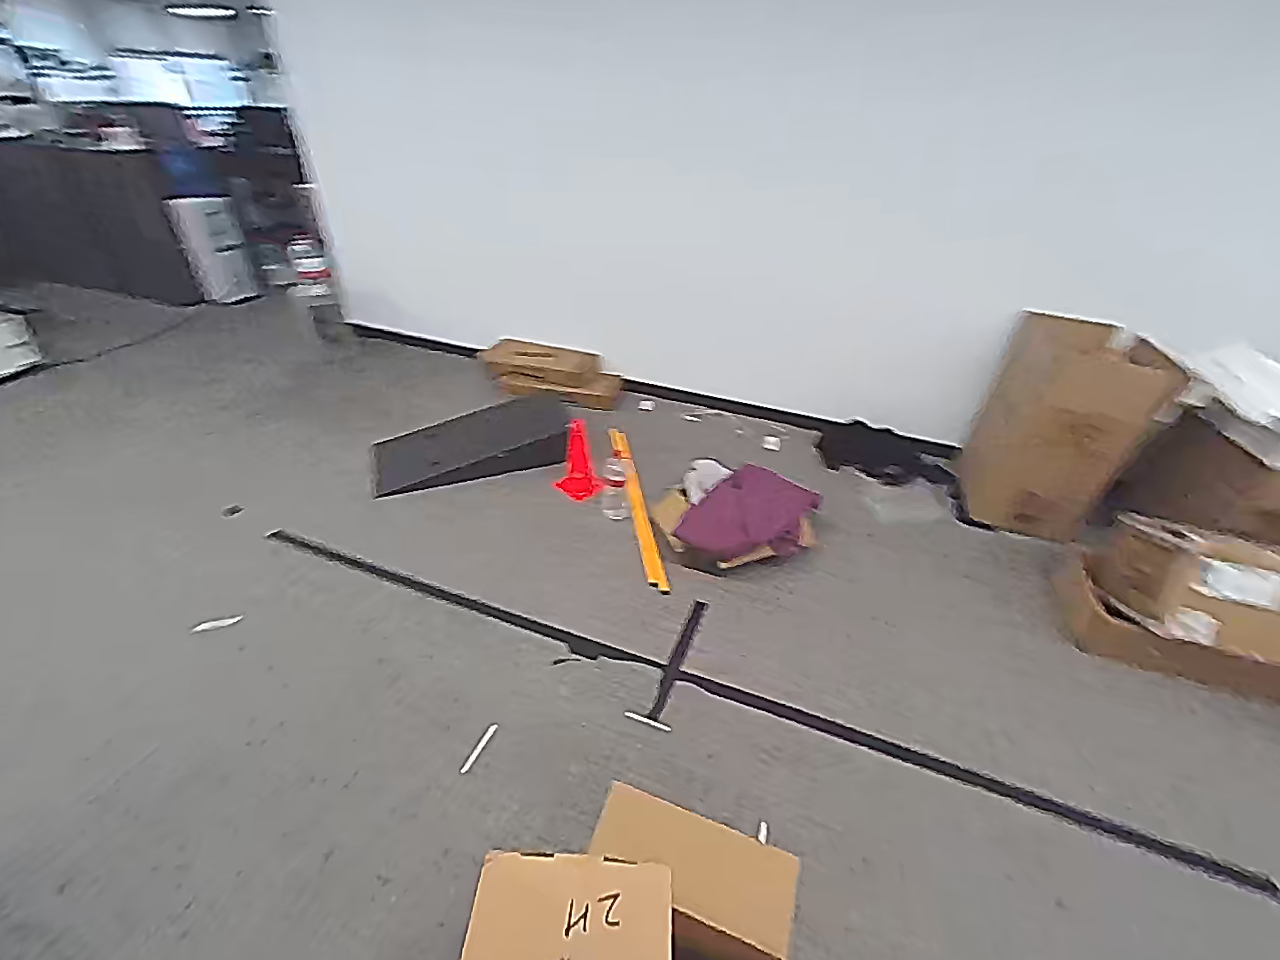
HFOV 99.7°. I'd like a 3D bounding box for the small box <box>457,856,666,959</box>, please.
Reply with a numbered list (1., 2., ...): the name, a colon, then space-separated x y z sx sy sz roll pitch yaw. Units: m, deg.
1. small box: -0.066 0.450 0.455 0.168 0.176 0.179 4 37 -1
